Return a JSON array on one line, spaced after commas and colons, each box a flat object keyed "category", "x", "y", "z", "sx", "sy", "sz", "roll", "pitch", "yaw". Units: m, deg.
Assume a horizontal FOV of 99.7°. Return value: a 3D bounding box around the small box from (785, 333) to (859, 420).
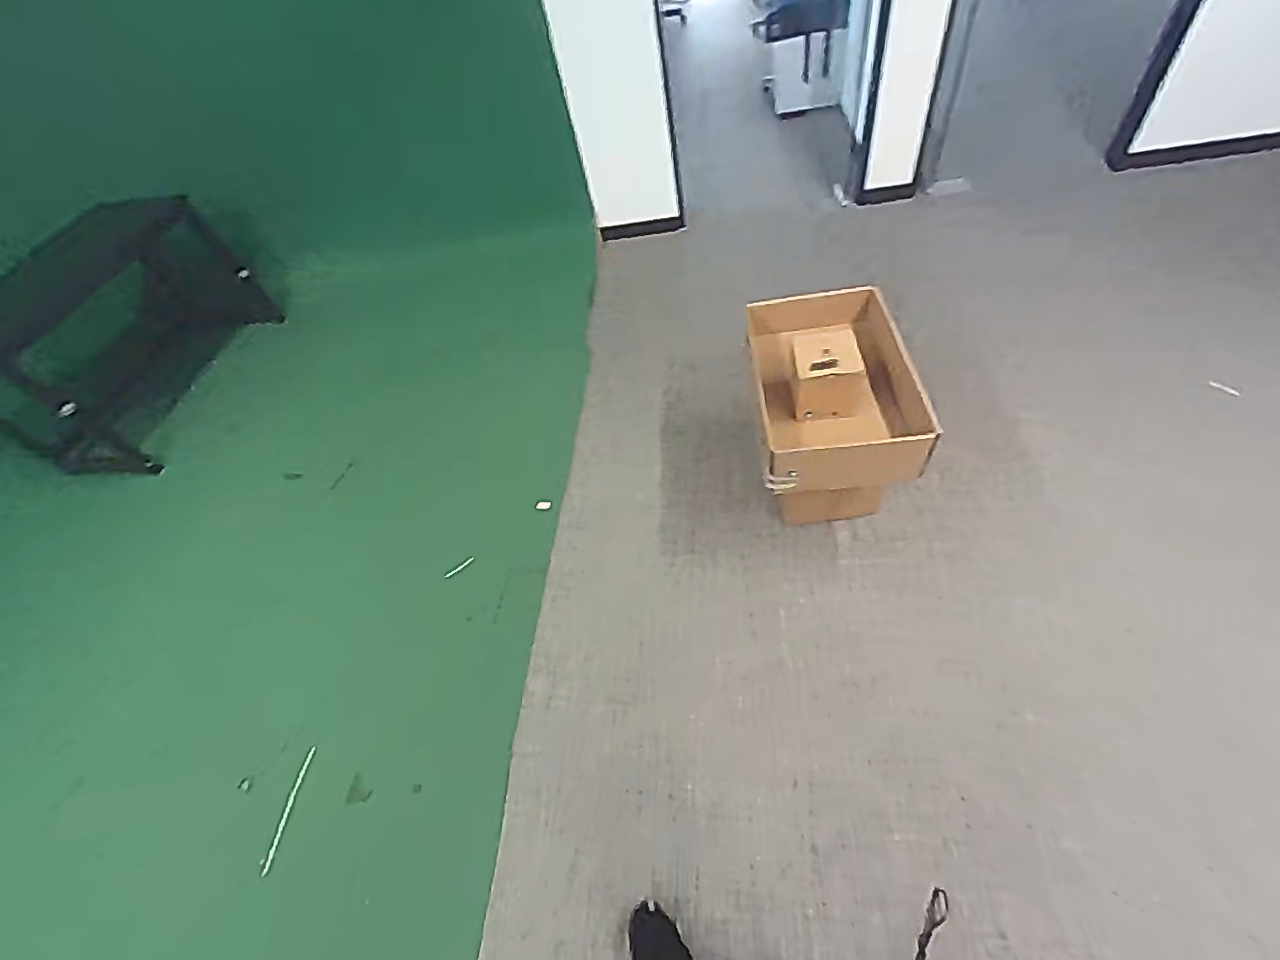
[{"category": "small box", "x": 0.503, "y": -0.282, "z": 1.516, "sx": 0.168, "sy": 0.176, "sz": 0.179, "roll": -5, "pitch": 51, "yaw": 9}]
